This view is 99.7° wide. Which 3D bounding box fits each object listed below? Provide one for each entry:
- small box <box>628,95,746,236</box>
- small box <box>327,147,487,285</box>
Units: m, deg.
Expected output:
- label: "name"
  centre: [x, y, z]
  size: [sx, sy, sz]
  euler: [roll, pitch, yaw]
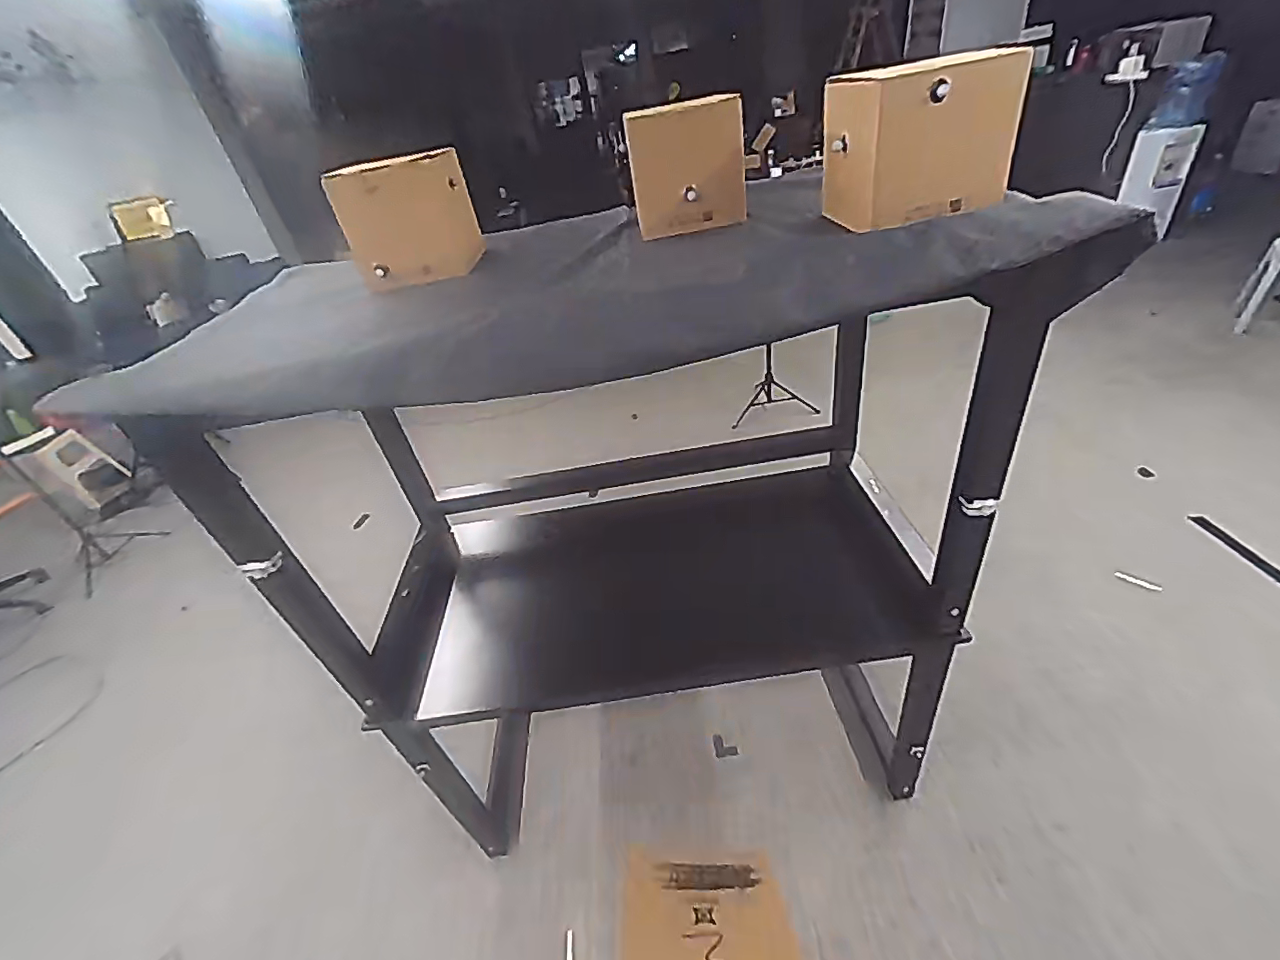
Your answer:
- label: "small box"
  centre: [0.074, -0.509, 0.878]
  size: [0.168, 0.176, 0.179]
  euler: [-9, 36, 3]
- label: "small box"
  centre: [-0.367, -0.432, 0.893]
  size: [0.168, 0.176, 0.179]
  euler: [-9, 35, 2]
